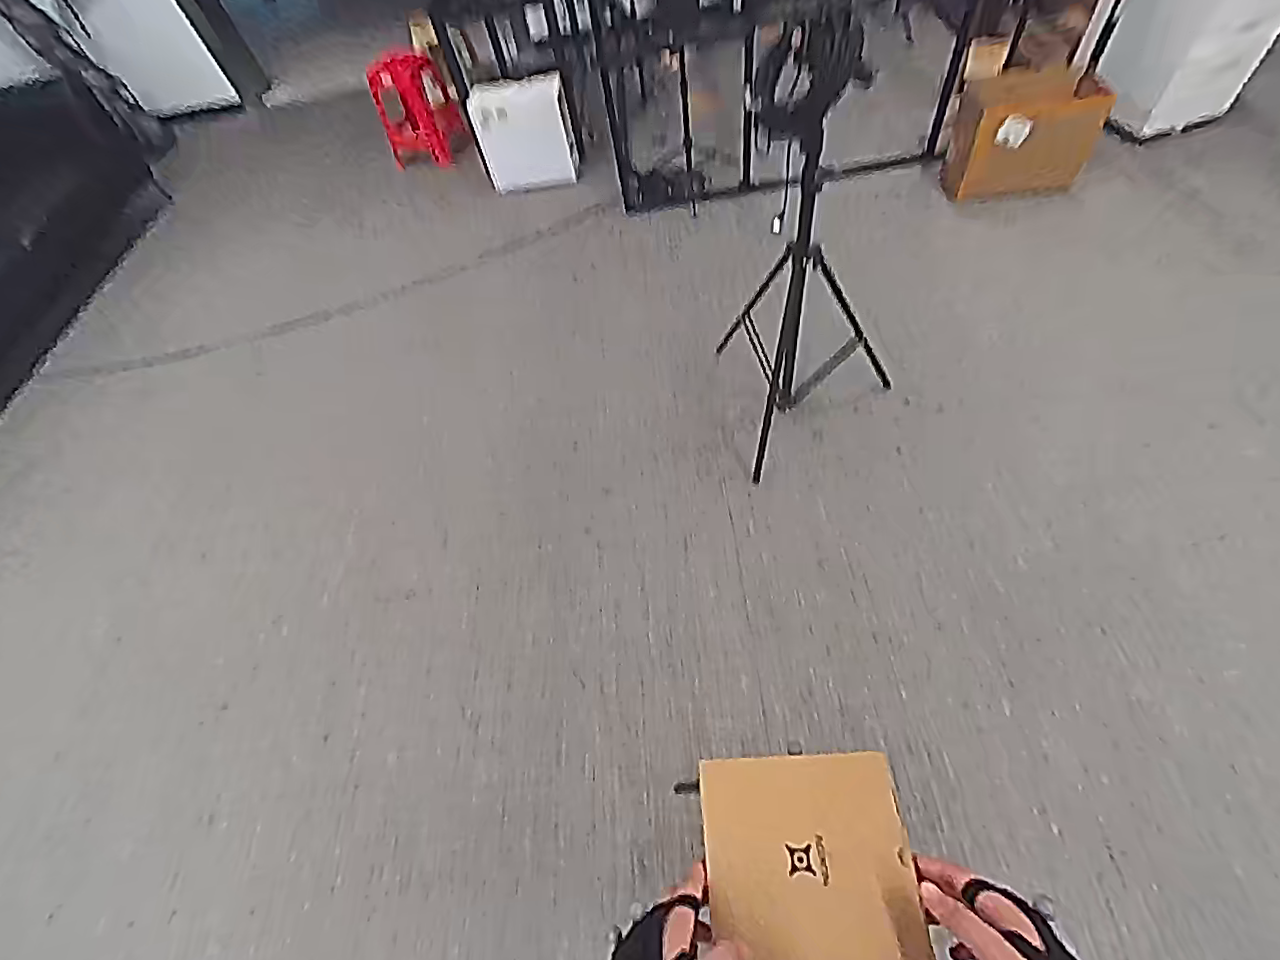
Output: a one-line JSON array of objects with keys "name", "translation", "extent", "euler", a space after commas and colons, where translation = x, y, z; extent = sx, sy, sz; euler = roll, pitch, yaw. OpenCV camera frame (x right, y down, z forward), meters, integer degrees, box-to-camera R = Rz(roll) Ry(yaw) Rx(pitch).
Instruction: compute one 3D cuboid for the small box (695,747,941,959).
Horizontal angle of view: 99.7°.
[{"name": "small box", "translation": [0.155, 0.364, 0.518], "extent": [0.179, 0.176, 0.168], "euler": [-8, 54, 8]}]
